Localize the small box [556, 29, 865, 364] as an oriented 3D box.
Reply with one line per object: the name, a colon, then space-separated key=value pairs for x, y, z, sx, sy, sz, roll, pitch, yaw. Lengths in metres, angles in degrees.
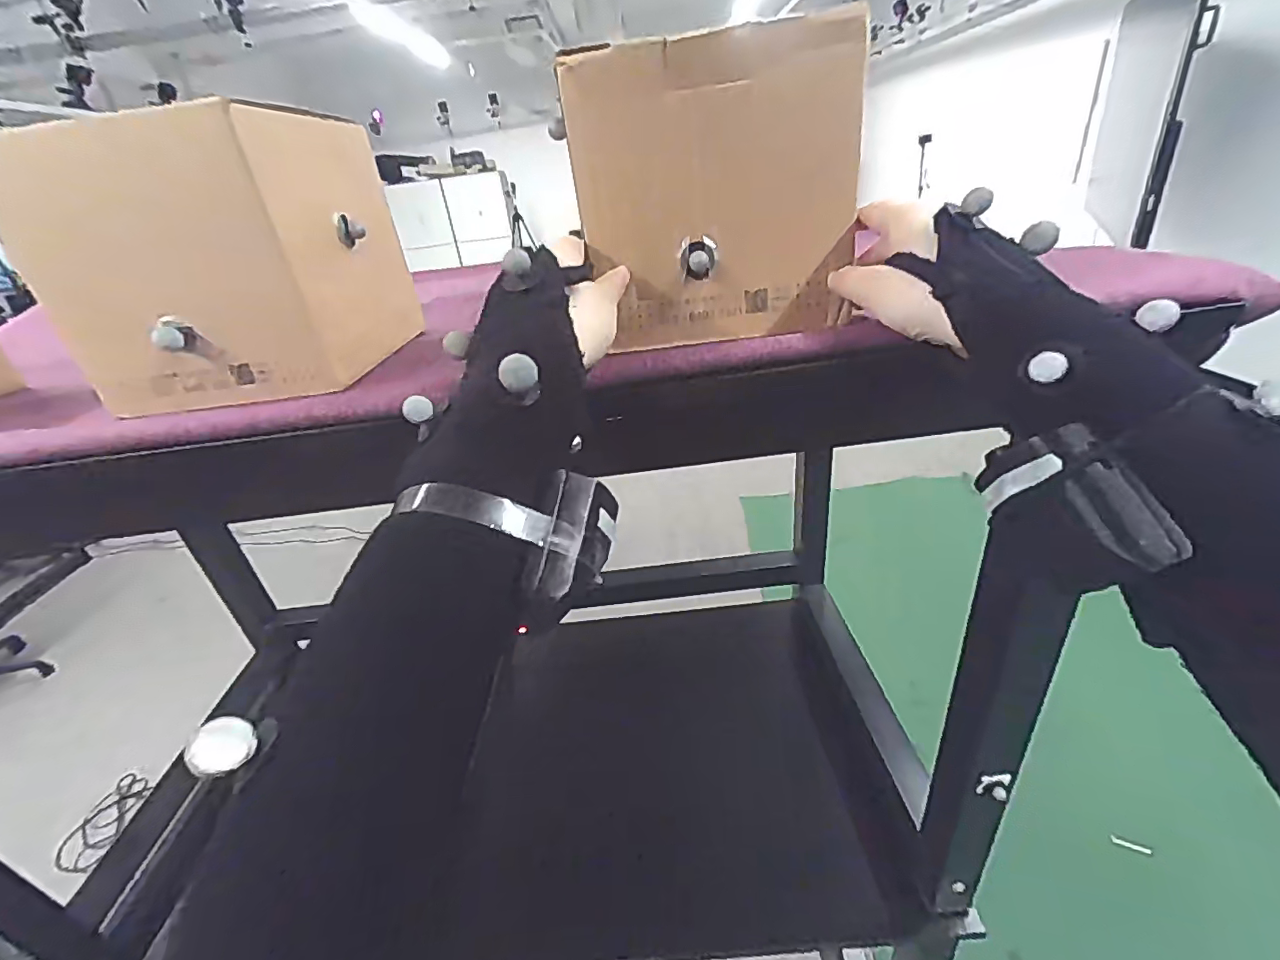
small box: x=0.046 y=-0.196 z=0.394 sx=0.168 sy=0.176 sz=0.179 roll=-6 pitch=32 yaw=4

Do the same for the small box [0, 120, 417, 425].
small box: x=-0.290 y=-0.155 z=0.405 sx=0.168 sy=0.176 sz=0.179 roll=-6 pitch=32 yaw=3
